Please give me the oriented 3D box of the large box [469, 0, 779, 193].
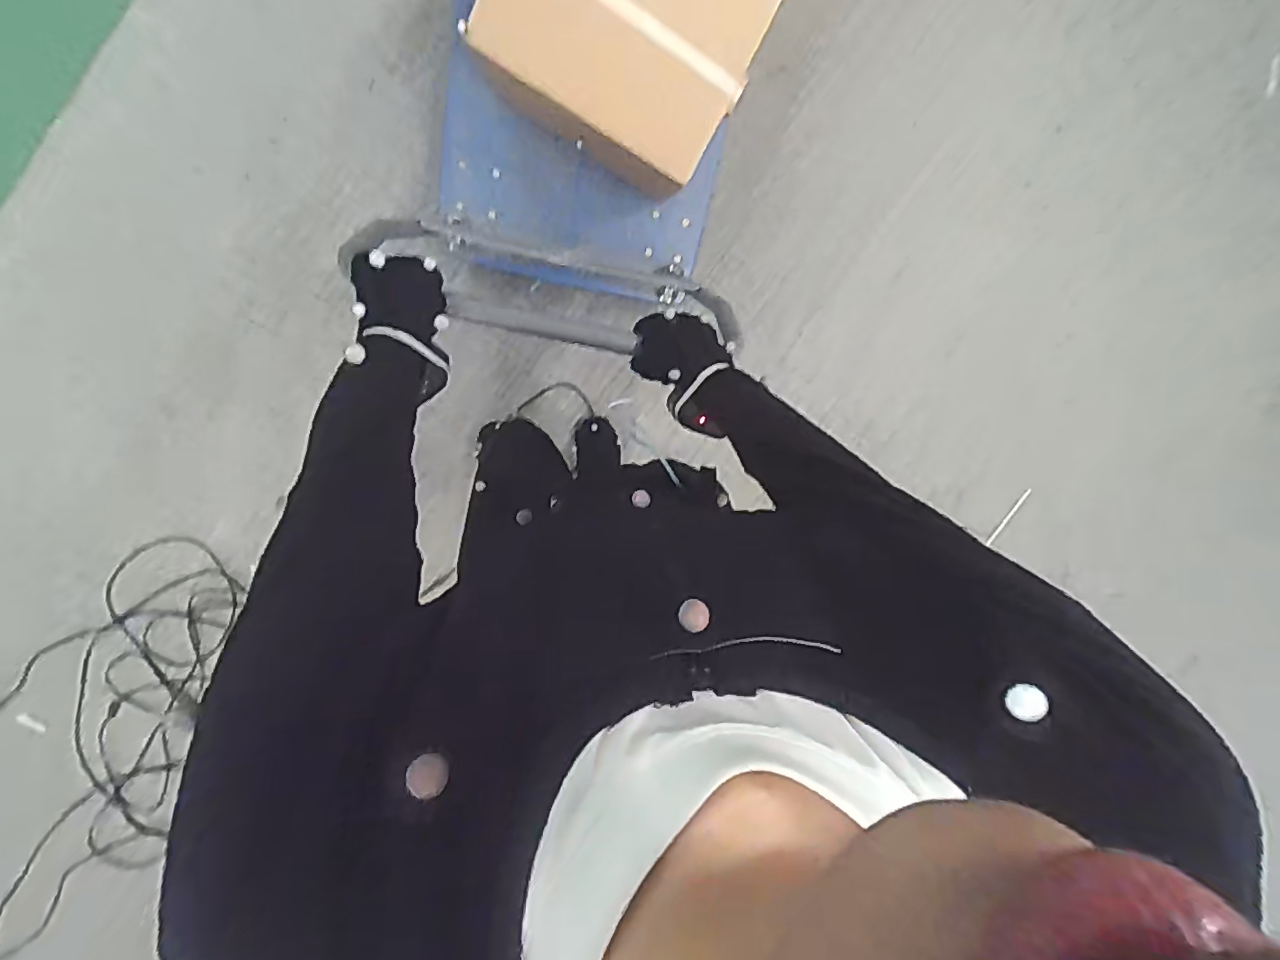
[{"bbox_3d":[-0.026,-0.772,0.962,0.408,0.320,0.320,26,109,-14],"label":"large box"}]
